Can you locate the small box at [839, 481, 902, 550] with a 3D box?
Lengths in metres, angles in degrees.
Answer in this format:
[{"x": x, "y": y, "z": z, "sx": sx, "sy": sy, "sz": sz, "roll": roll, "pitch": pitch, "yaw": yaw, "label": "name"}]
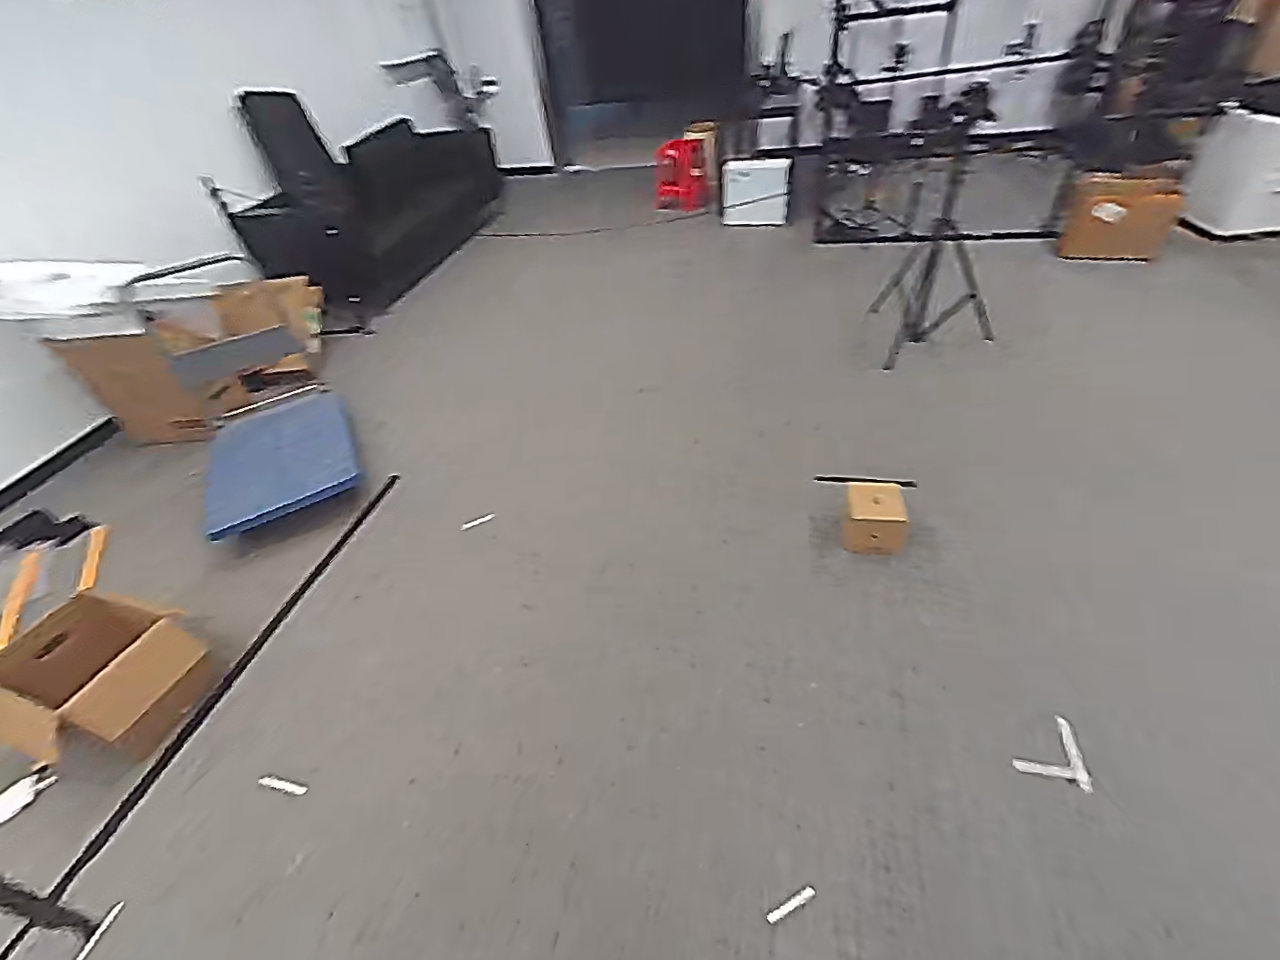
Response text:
[{"x": 0.781, "y": 0.123, "z": 1.845, "sx": 0.168, "sy": 0.176, "sz": 0.179, "roll": 2, "pitch": 43, "yaw": 11, "label": "small box"}]
